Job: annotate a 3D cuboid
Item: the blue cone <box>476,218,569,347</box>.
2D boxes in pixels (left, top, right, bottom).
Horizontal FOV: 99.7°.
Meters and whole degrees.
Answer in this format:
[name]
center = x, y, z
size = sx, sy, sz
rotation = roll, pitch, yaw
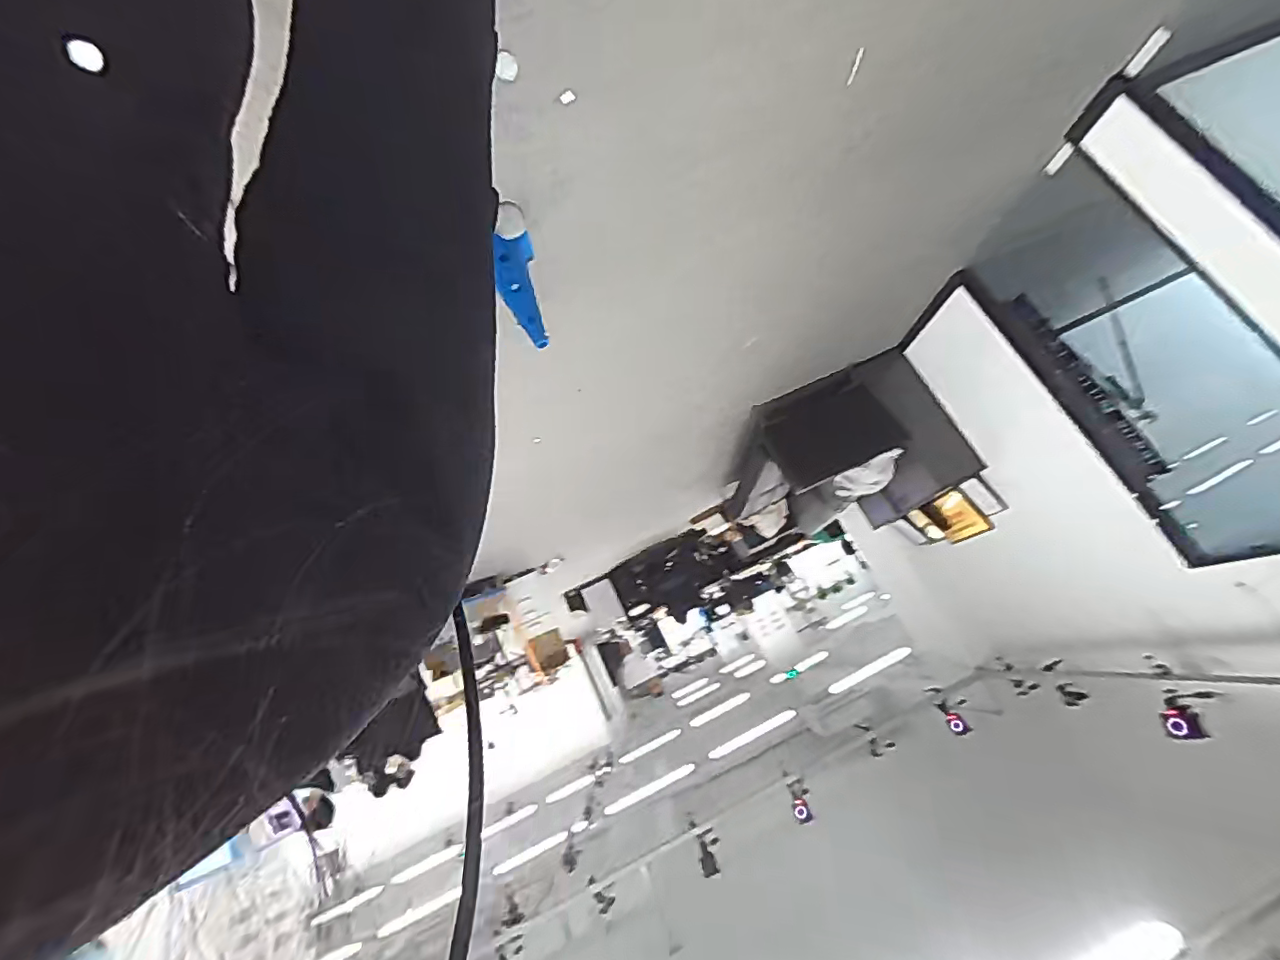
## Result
[blue cone]
center = -0.300, -0.525, 1.523
size = 0.192, 0.380, 0.193
rotation = -25, 162, -7
